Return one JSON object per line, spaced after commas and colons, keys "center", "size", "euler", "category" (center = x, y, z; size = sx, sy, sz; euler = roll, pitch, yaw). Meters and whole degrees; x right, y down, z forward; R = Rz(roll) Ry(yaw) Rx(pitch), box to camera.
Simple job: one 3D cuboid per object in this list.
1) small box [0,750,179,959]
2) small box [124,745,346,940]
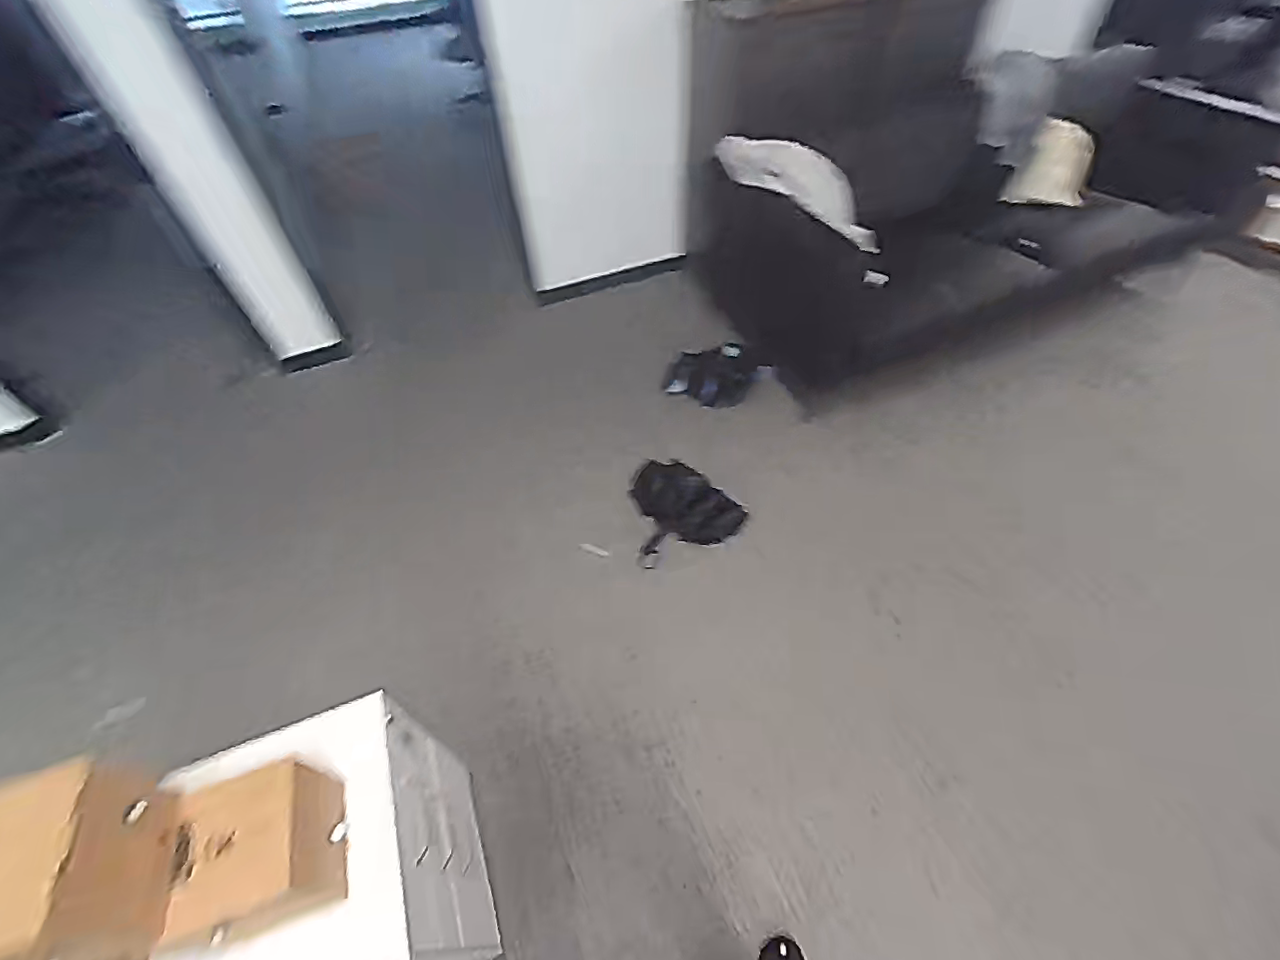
{"center": [-0.664, 0.429, 0.594], "size": [0.179, 0.176, 0.168], "euler": [-17, 51, -11], "category": "small box"}
{"center": [-0.533, 0.497, 0.742], "size": [0.179, 0.176, 0.168], "euler": [-16, 52, -12], "category": "small box"}
